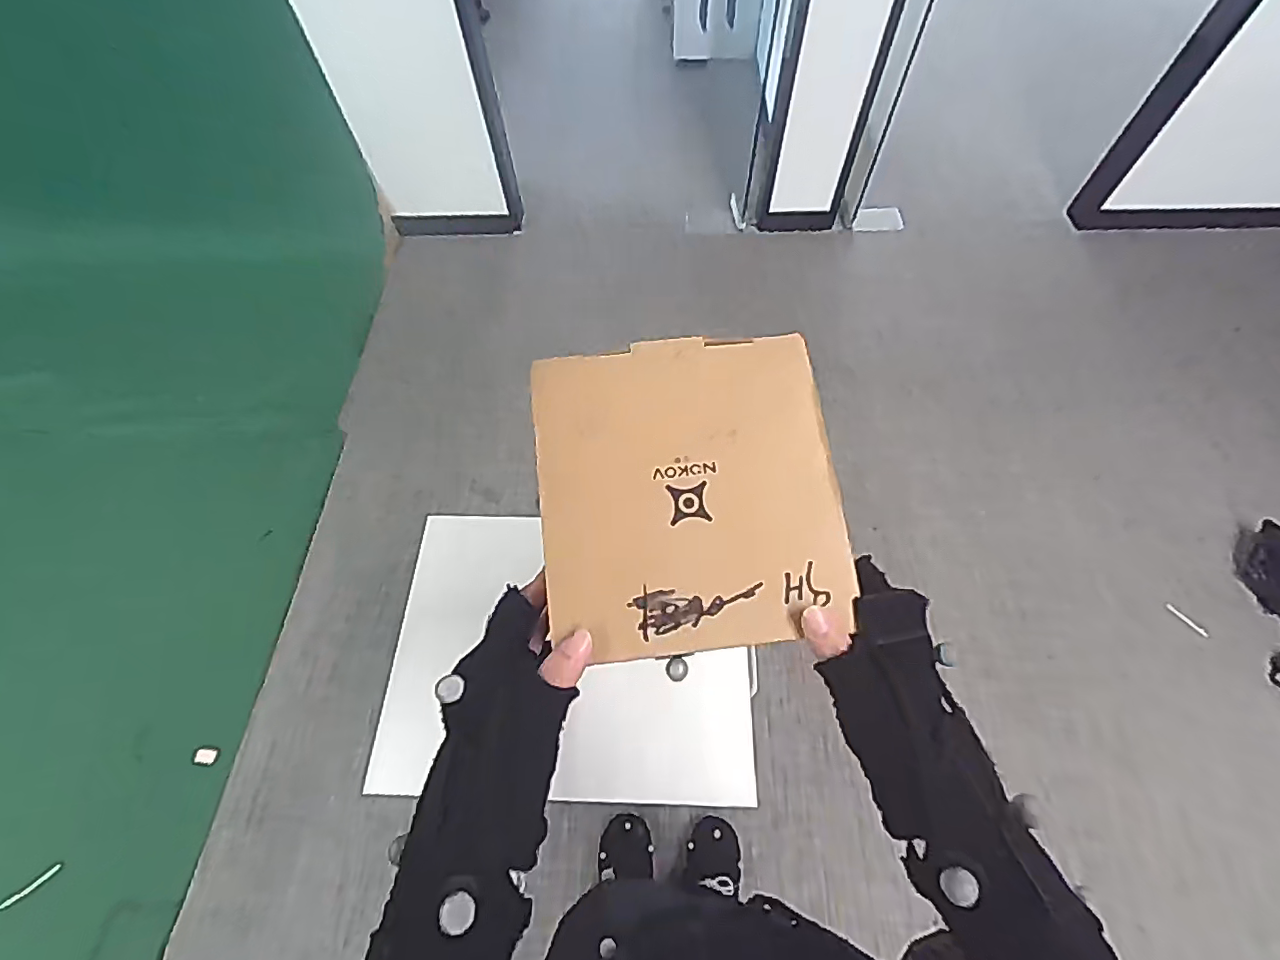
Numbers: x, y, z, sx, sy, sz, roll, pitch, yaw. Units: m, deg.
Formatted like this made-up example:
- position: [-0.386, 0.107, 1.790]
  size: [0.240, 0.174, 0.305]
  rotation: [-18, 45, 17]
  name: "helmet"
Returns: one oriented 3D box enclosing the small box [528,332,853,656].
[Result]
- position: [0.021, 0.022, 0.379]
  size: [0.168, 0.176, 0.179]
  rotation: [-7, 75, -2]
  name: "small box"
